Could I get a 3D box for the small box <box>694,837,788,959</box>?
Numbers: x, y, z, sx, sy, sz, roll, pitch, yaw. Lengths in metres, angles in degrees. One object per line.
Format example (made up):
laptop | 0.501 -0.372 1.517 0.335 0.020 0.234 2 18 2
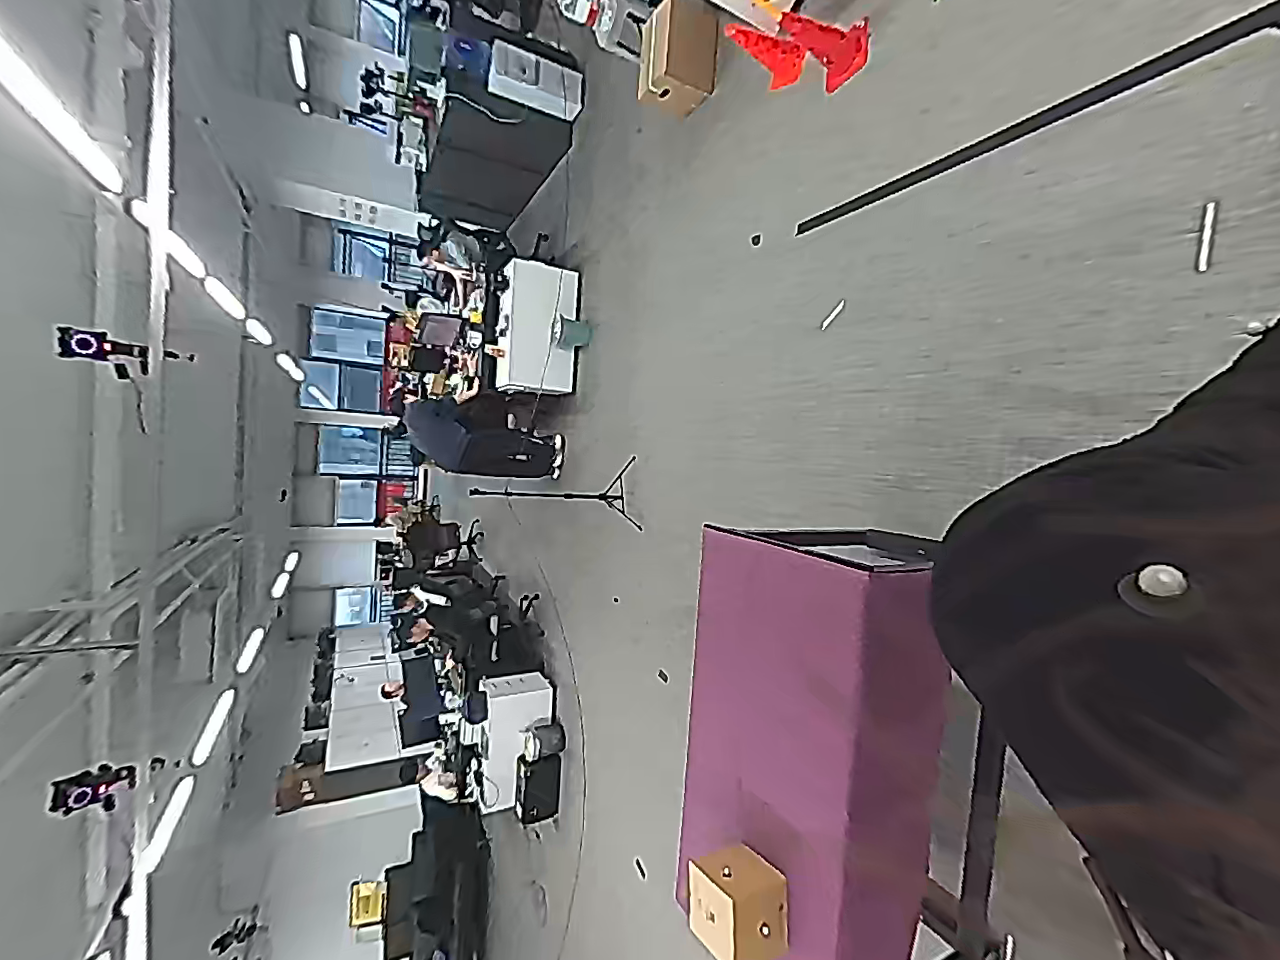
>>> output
small box | 0.251 1.025 1.340 0.179 0.176 0.168 -7 81 62
